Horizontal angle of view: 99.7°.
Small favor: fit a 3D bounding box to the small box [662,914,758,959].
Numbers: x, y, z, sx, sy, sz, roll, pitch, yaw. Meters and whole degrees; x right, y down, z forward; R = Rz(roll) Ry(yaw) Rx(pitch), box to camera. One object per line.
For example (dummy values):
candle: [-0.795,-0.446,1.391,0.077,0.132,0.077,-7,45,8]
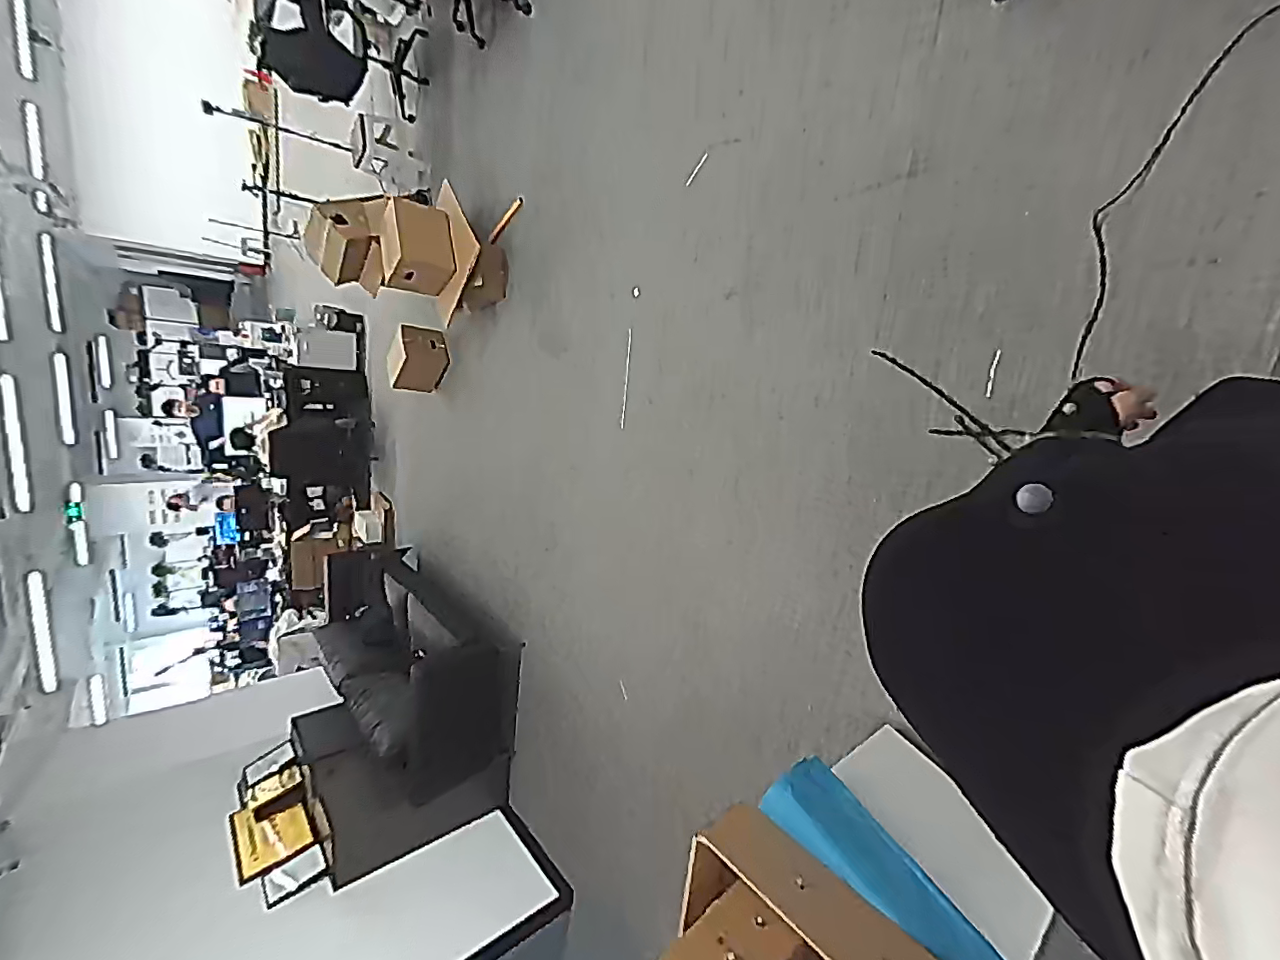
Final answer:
small box: [0.150,1.074,1.119,0.168,0.176,0.179,18,108,45]
